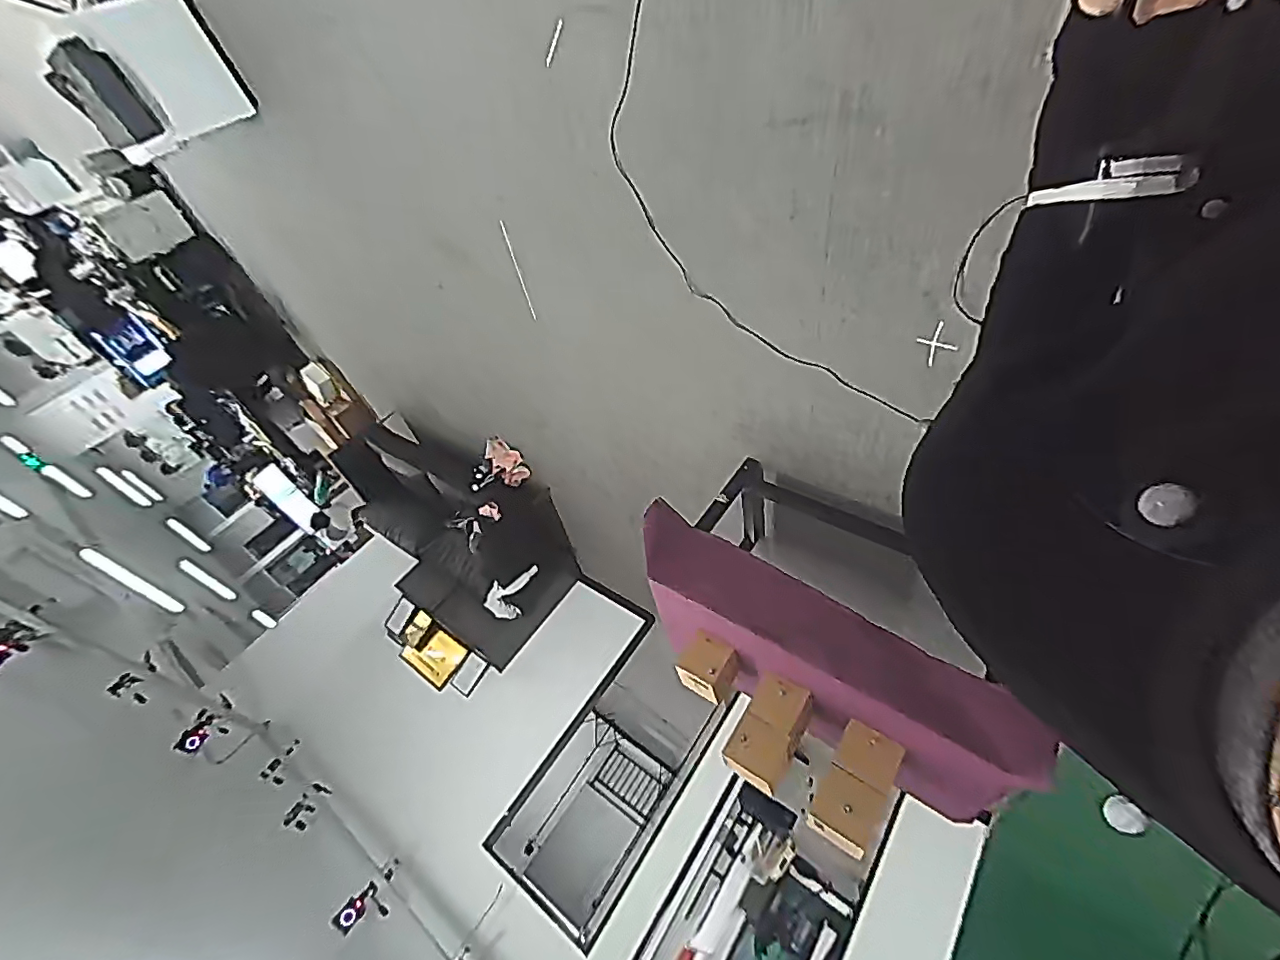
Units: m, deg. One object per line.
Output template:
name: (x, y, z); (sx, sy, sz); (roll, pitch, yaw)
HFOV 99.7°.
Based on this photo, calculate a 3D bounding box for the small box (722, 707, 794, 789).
small box: (0.405, 0.905, 1.846); (0.179, 0.176, 0.168); (20, 147, 34)

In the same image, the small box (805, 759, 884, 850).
small box: (0.636, 1.006, 1.693); (0.179, 0.176, 0.168); (22, 147, 31)

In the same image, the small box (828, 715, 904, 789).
small box: (0.733, 0.896, 1.767); (0.179, 0.176, 0.168); (23, 148, 32)

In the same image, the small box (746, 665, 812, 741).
small box: (0.499, 0.797, 1.925); (0.168, 0.176, 0.179); (19, 144, 36)
